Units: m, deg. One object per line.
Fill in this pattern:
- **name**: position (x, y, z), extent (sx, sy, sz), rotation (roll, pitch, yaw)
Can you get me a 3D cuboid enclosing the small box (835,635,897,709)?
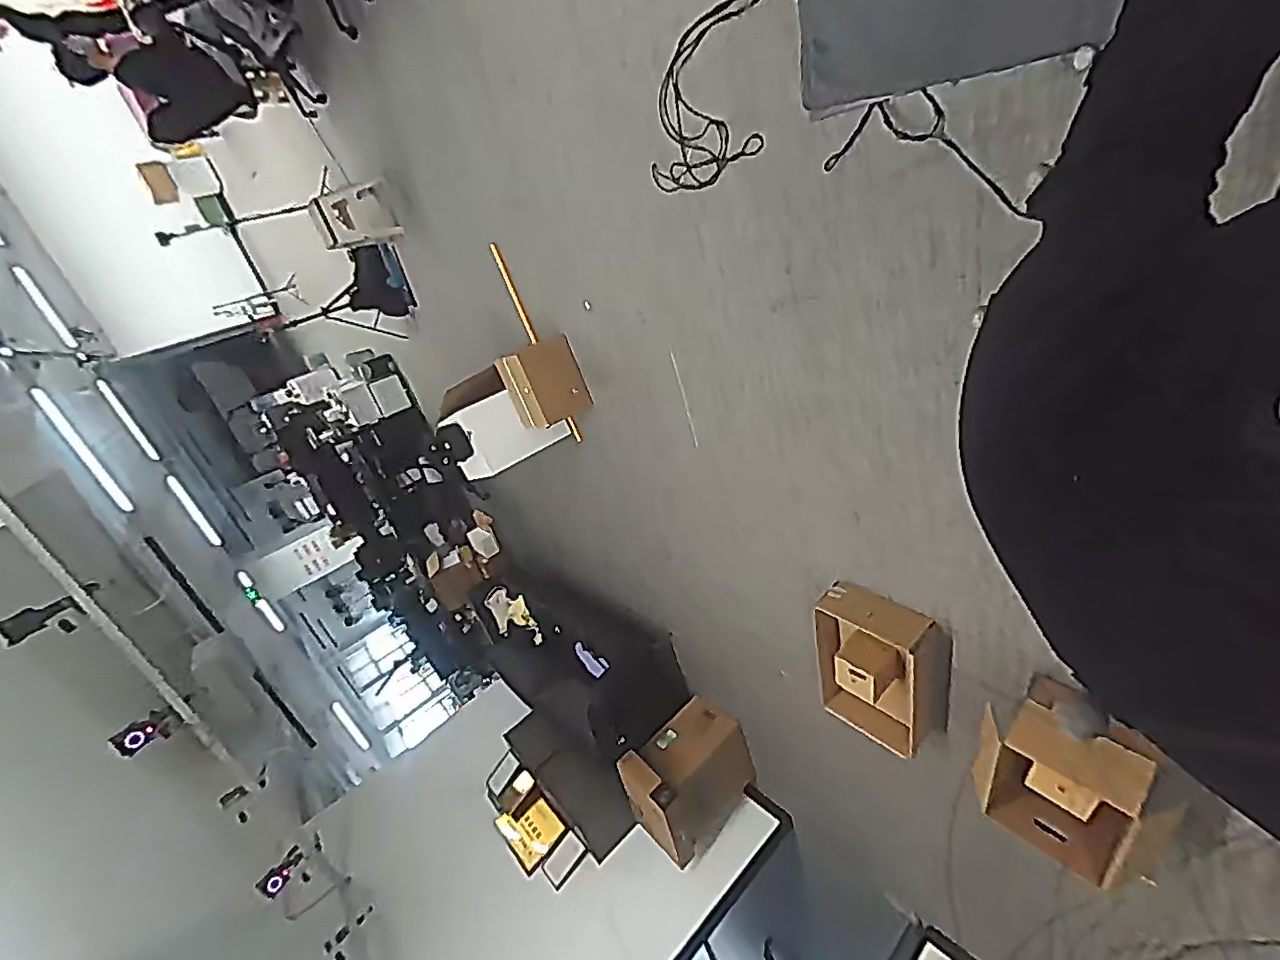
- **small box**: position (0.884, 0.743, 2.113), extent (0.168, 0.176, 0.179), rotation (24, 138, 46)
